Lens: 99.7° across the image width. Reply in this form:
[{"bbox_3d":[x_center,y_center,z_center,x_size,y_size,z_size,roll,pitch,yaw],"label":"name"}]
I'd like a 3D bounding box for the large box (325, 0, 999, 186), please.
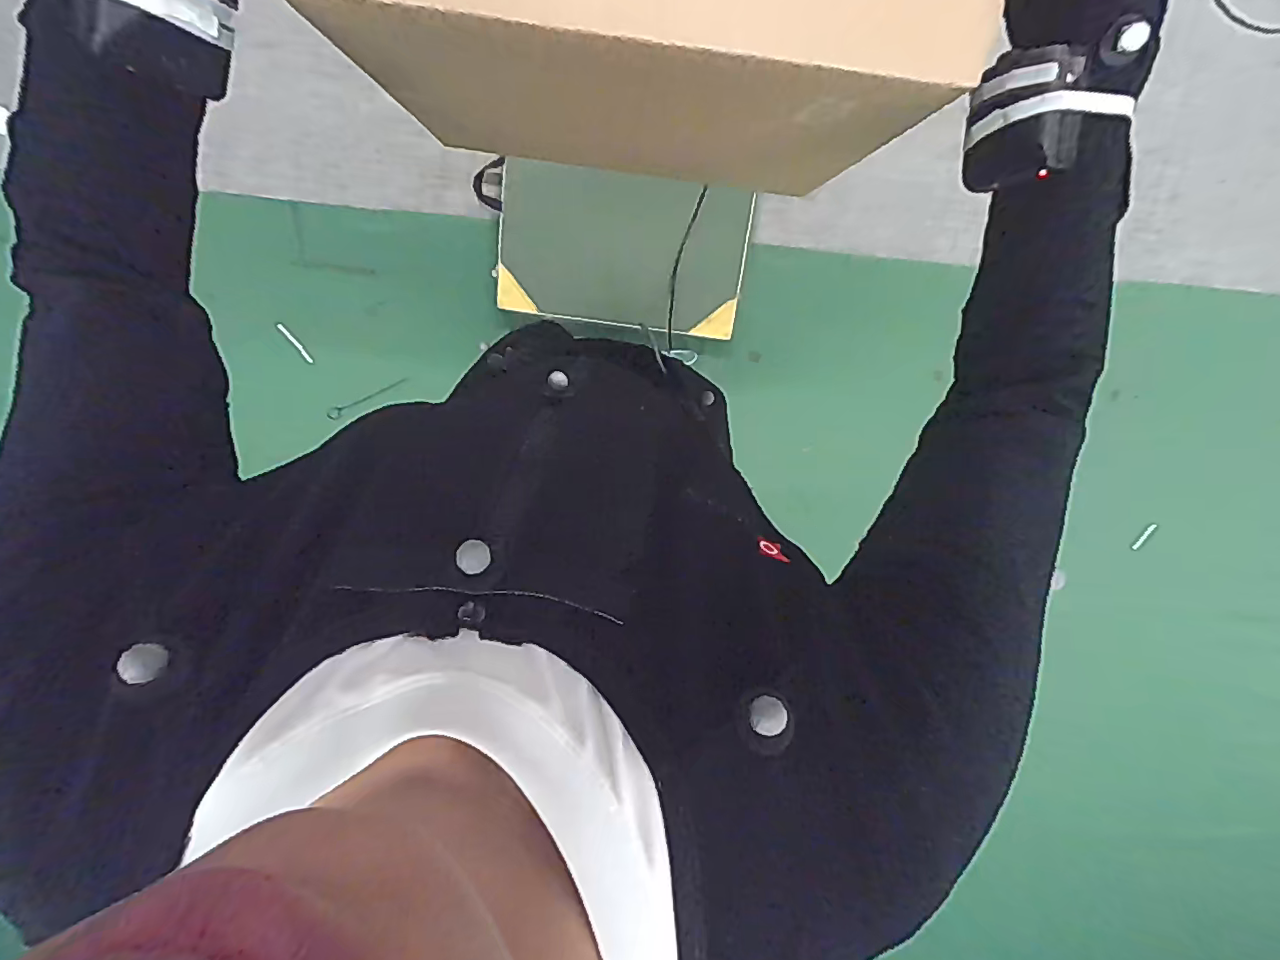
[{"bbox_3d":[0.014,-0.445,0.409,0.408,0.320,0.320,5,107,-5],"label":"large box"}]
